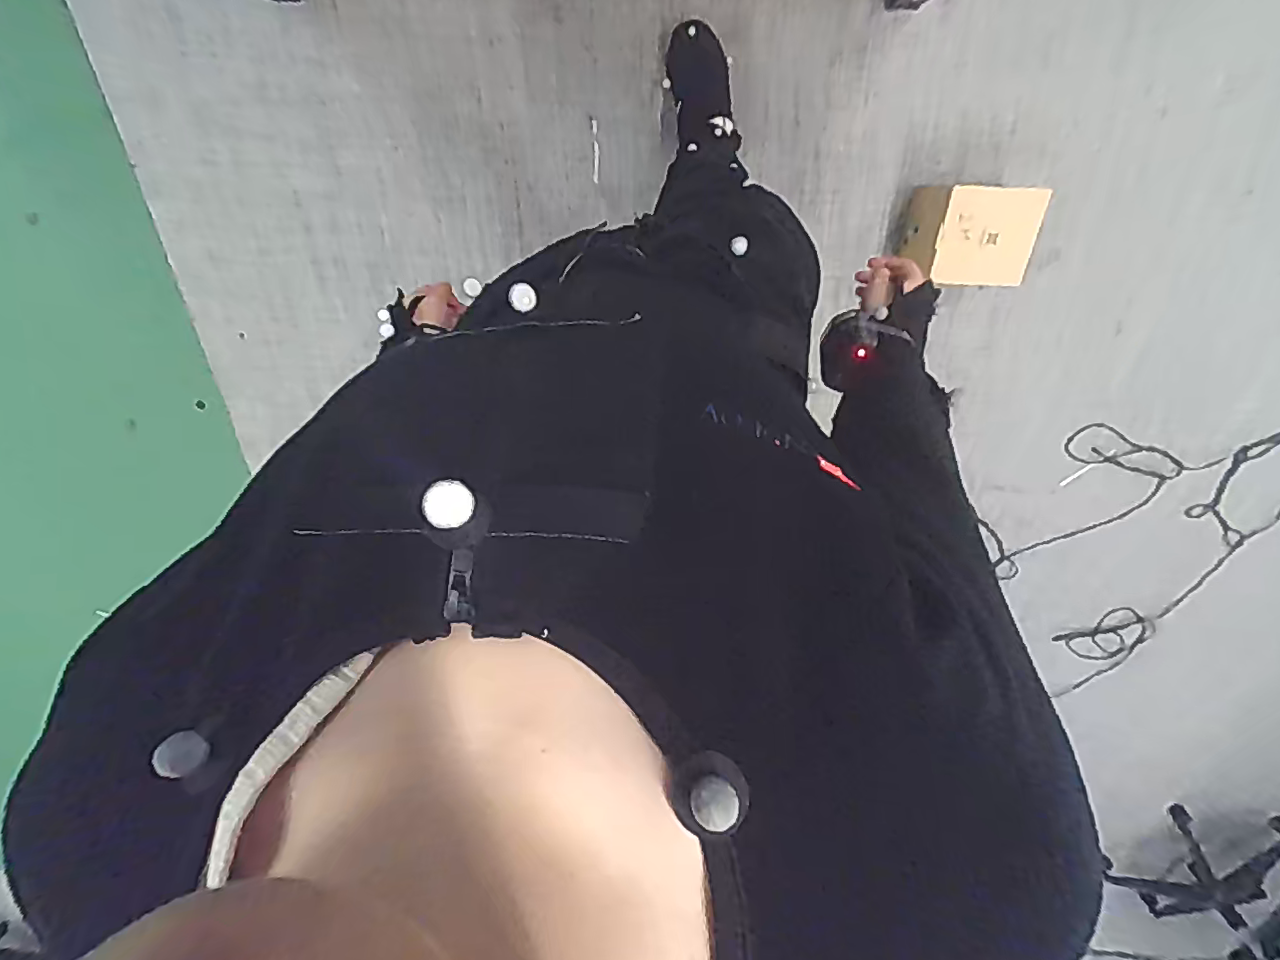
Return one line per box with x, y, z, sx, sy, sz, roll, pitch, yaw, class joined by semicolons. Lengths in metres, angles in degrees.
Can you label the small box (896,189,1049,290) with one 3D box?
0.635;-0.474;1.059;0.179;0.176;0.168;3;117;2;small box
